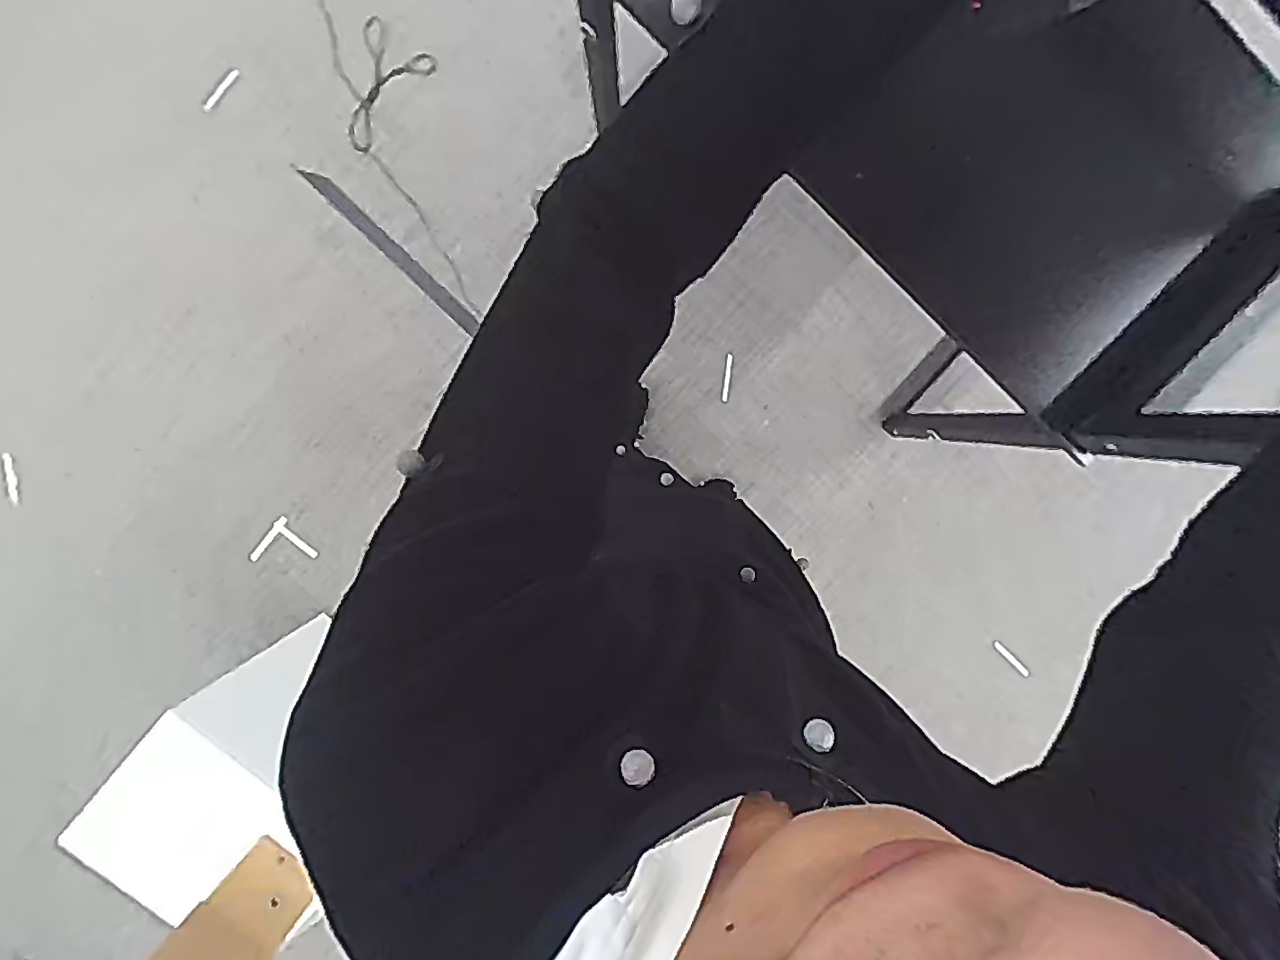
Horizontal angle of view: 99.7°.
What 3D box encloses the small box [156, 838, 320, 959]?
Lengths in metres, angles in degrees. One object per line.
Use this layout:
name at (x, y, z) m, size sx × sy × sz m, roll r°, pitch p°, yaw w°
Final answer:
small box at (-0.784, 0.874, 1.079) m, size 0.168 × 0.176 × 0.179 m, roll 42°, pitch 96°, yaw -5°
